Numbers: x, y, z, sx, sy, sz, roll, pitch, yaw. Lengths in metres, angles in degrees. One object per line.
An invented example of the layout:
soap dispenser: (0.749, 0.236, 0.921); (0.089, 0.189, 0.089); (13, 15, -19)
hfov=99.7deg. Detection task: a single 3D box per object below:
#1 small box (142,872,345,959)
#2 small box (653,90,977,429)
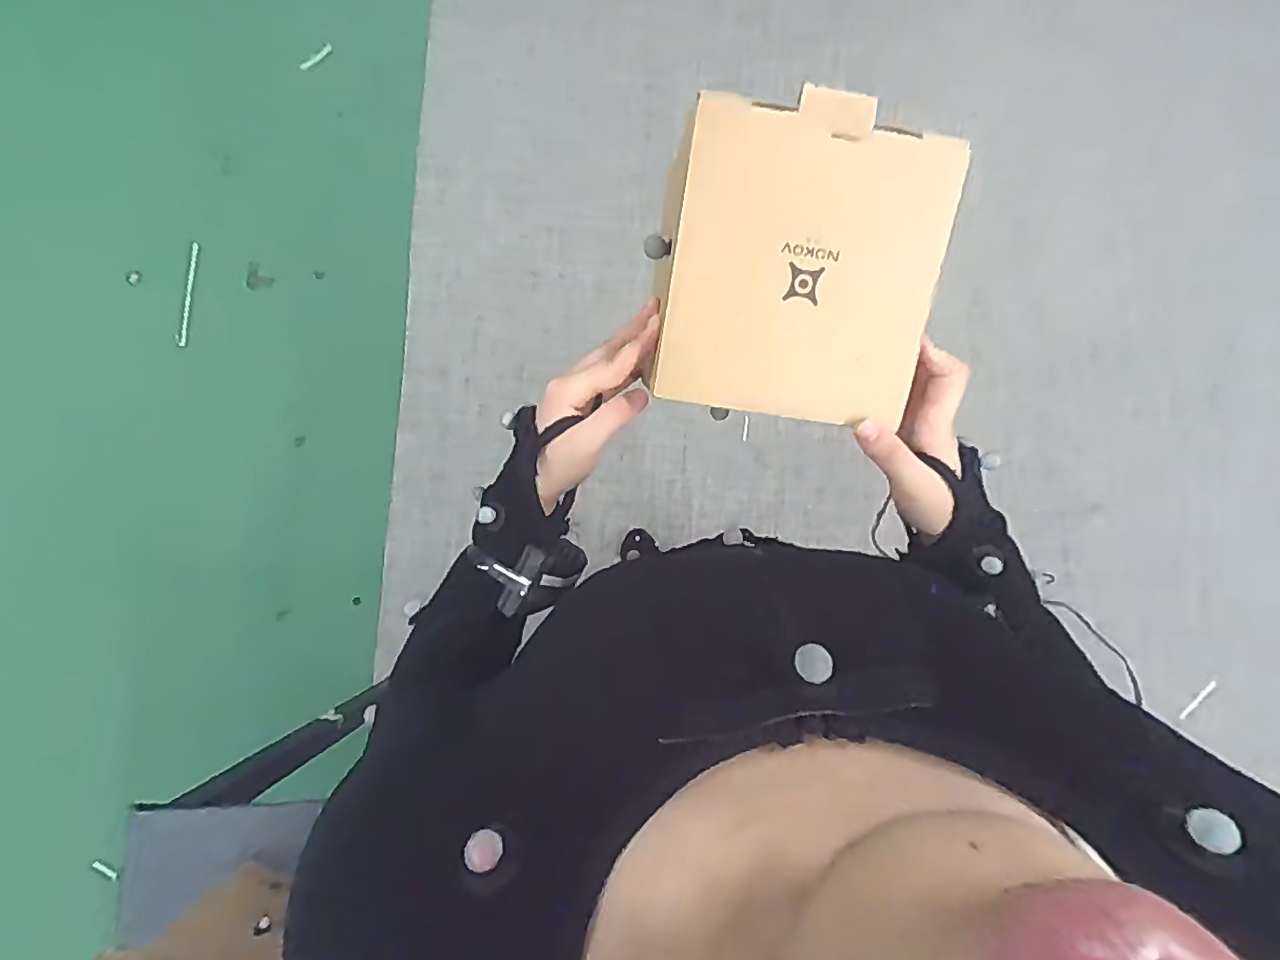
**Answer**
small box: (-0.490, 0.623, 0.642); (0.168, 0.176, 0.179); (22, 88, 4)
small box: (0.103, -0.146, 0.407); (0.168, 0.176, 0.179); (7, 103, -4)
